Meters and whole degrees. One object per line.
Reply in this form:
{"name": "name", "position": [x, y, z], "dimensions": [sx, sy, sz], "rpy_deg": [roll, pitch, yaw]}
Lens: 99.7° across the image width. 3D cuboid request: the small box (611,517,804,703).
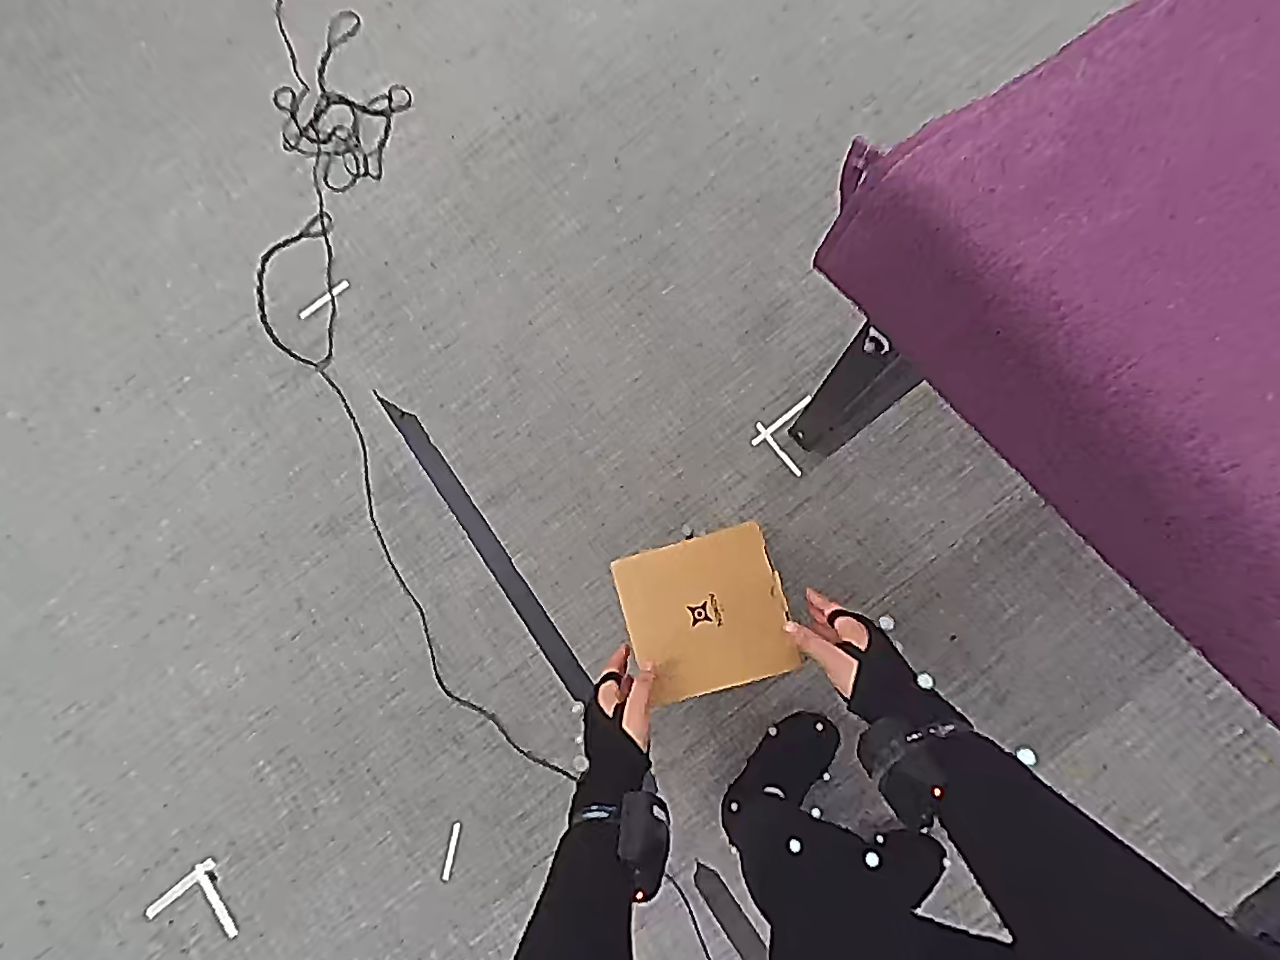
{"name": "small box", "position": [0.081, 0.152, 0.669], "dimensions": [0.179, 0.176, 0.168], "rpy_deg": [-18, 82, 5]}
